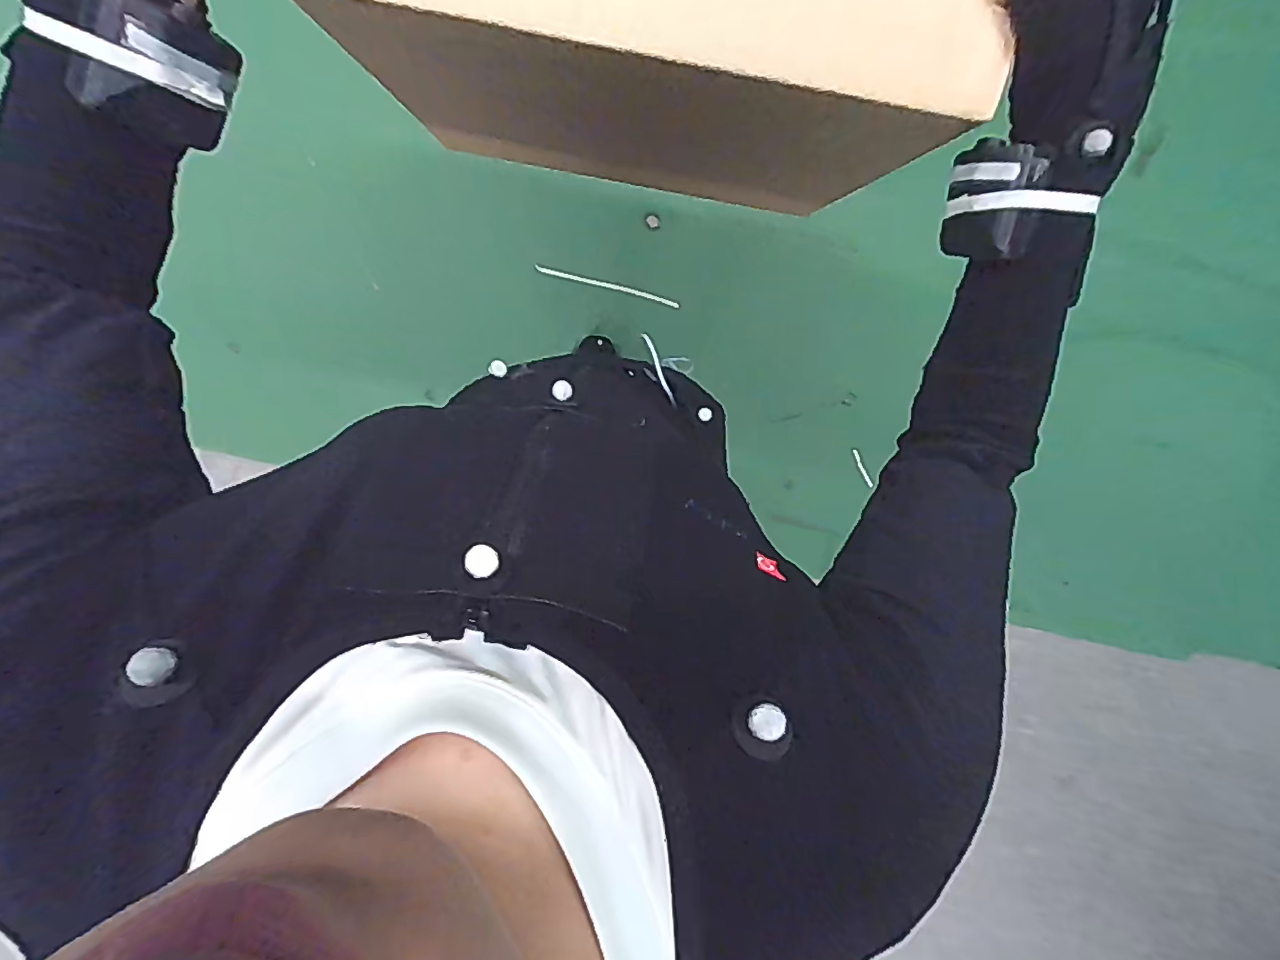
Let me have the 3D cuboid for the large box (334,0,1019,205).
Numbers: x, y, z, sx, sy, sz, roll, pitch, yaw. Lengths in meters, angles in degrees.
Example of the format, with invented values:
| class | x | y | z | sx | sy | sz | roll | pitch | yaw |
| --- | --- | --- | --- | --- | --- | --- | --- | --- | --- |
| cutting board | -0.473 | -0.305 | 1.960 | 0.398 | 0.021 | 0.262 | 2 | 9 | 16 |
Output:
| class | x | y | z | sx | sy | sz | roll | pitch | yaw |
| --- | --- | --- | --- | --- | --- | --- | --- | --- | --- |
| large box | 0.026 | -0.432 | 0.408 | 0.408 | 0.320 | 0.320 | 7 | 107 | -6 |
